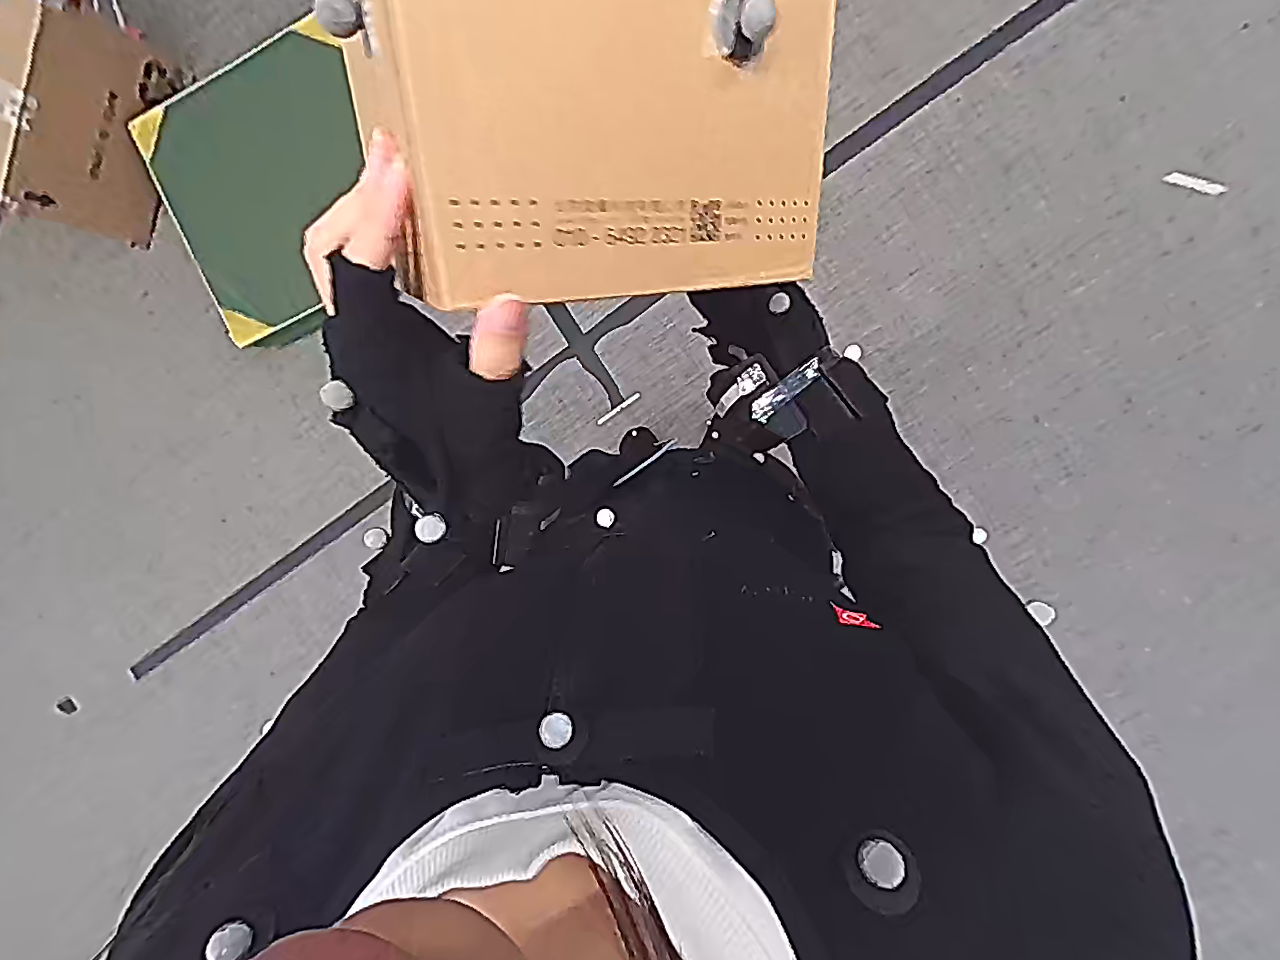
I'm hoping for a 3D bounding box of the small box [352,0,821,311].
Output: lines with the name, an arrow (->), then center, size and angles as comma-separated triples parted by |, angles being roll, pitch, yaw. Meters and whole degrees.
small box -> -0.031, -0.175, 0.253 | 0.168, 0.179, 0.176 | -12, 116, -23
